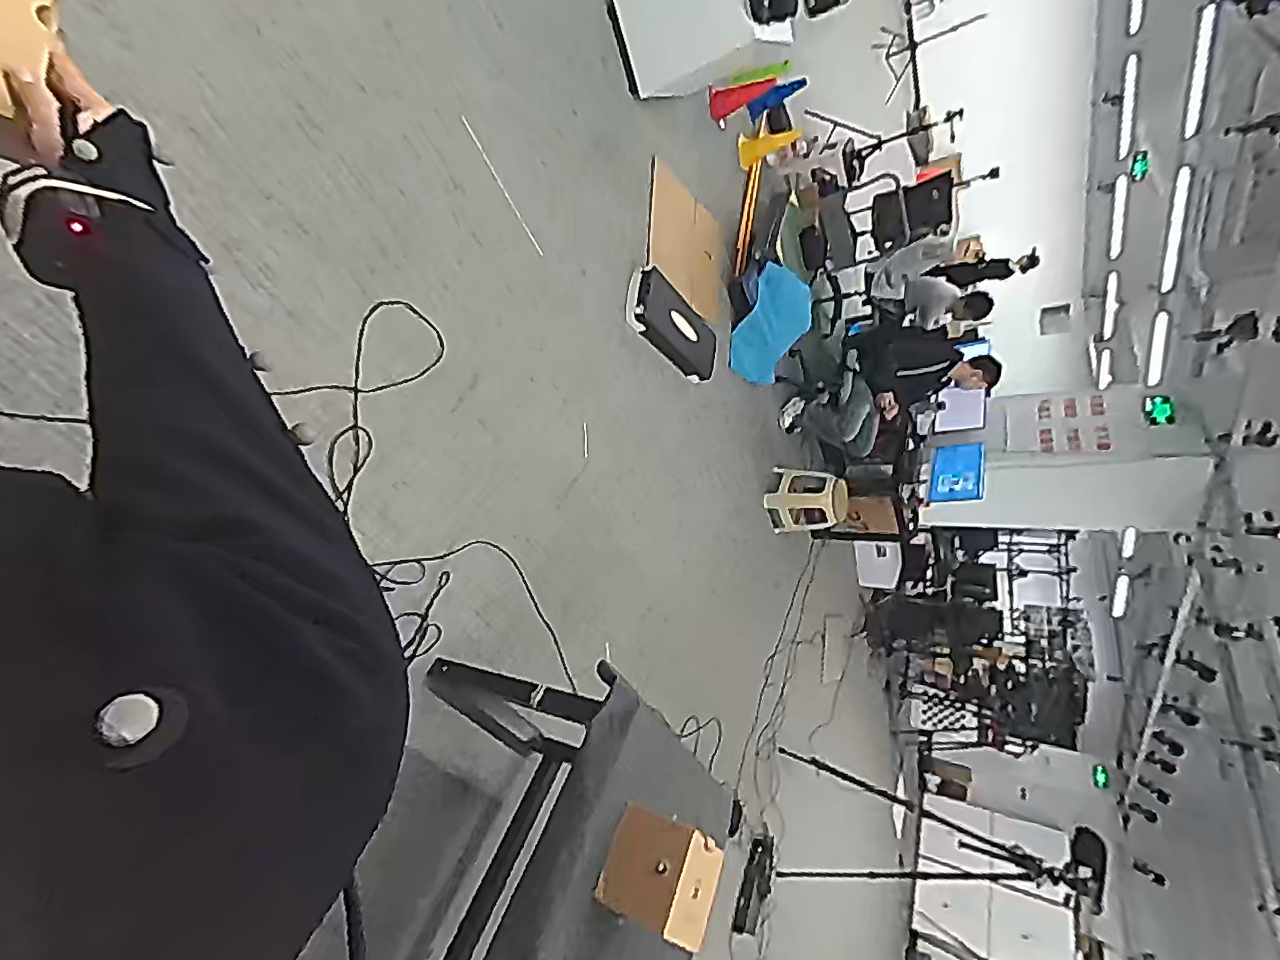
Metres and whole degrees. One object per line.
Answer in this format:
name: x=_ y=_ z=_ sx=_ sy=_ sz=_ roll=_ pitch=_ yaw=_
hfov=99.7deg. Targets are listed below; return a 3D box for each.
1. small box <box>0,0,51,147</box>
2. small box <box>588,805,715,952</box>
small box: x=-0.555 y=-0.369 z=0.382 sx=0.179 sy=0.176 sz=0.168 roll=5 pitch=97 yaw=-53
small box: x=0.024 y=0.786 z=1.080 sx=0.168 sy=0.176 sz=0.179 roll=58 pitch=47 yaw=-36
